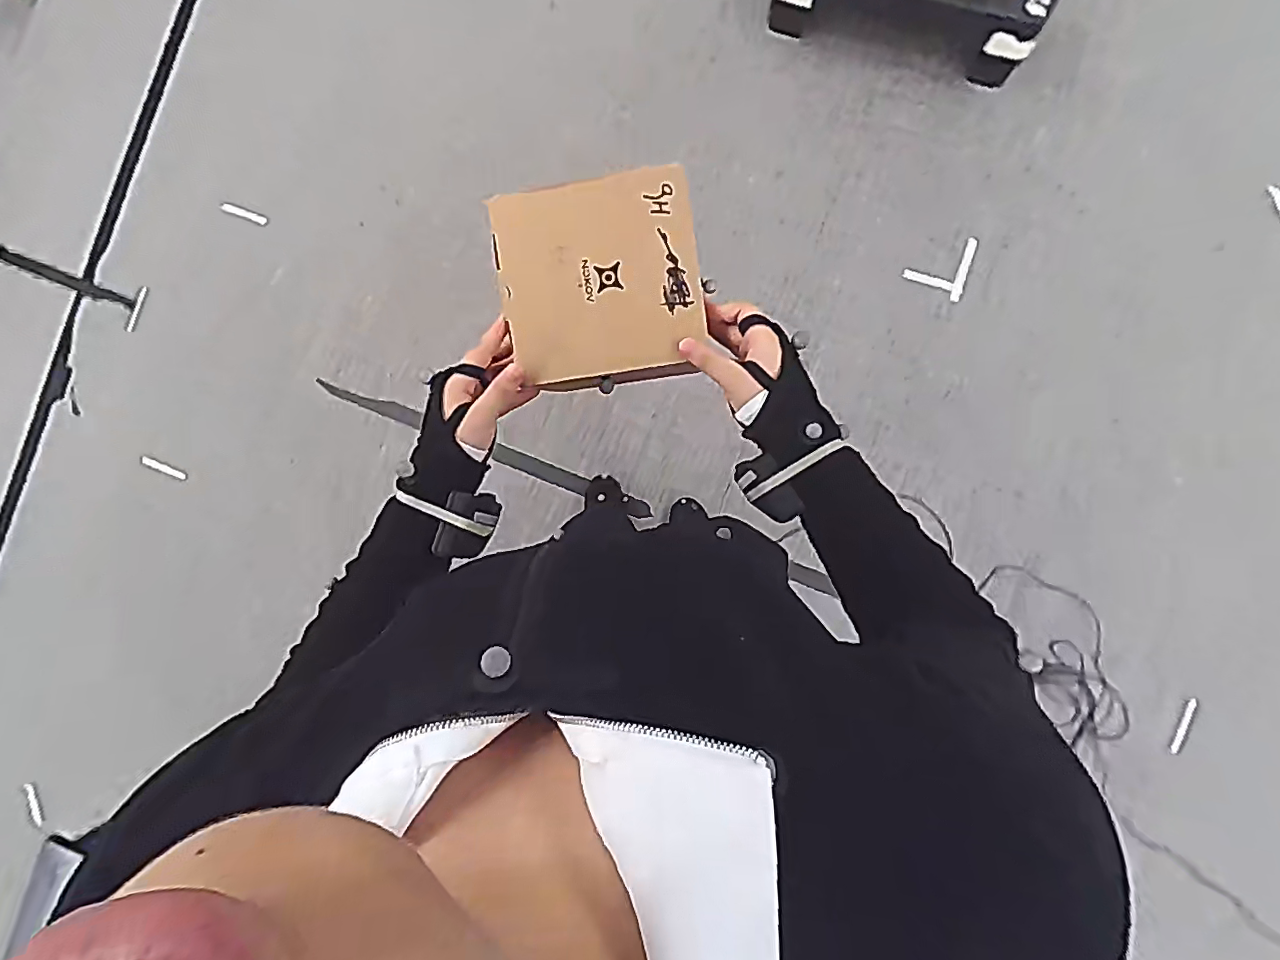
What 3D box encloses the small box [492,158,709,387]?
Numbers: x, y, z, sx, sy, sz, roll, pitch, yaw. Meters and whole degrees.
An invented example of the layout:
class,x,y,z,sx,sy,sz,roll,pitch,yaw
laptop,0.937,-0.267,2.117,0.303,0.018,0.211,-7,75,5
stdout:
class,x,y,z,sx,sy,sz,roll,pitch,yaw
small box,-0.027,-0.187,0.542,0.179,0.176,0.168,-6,97,5
